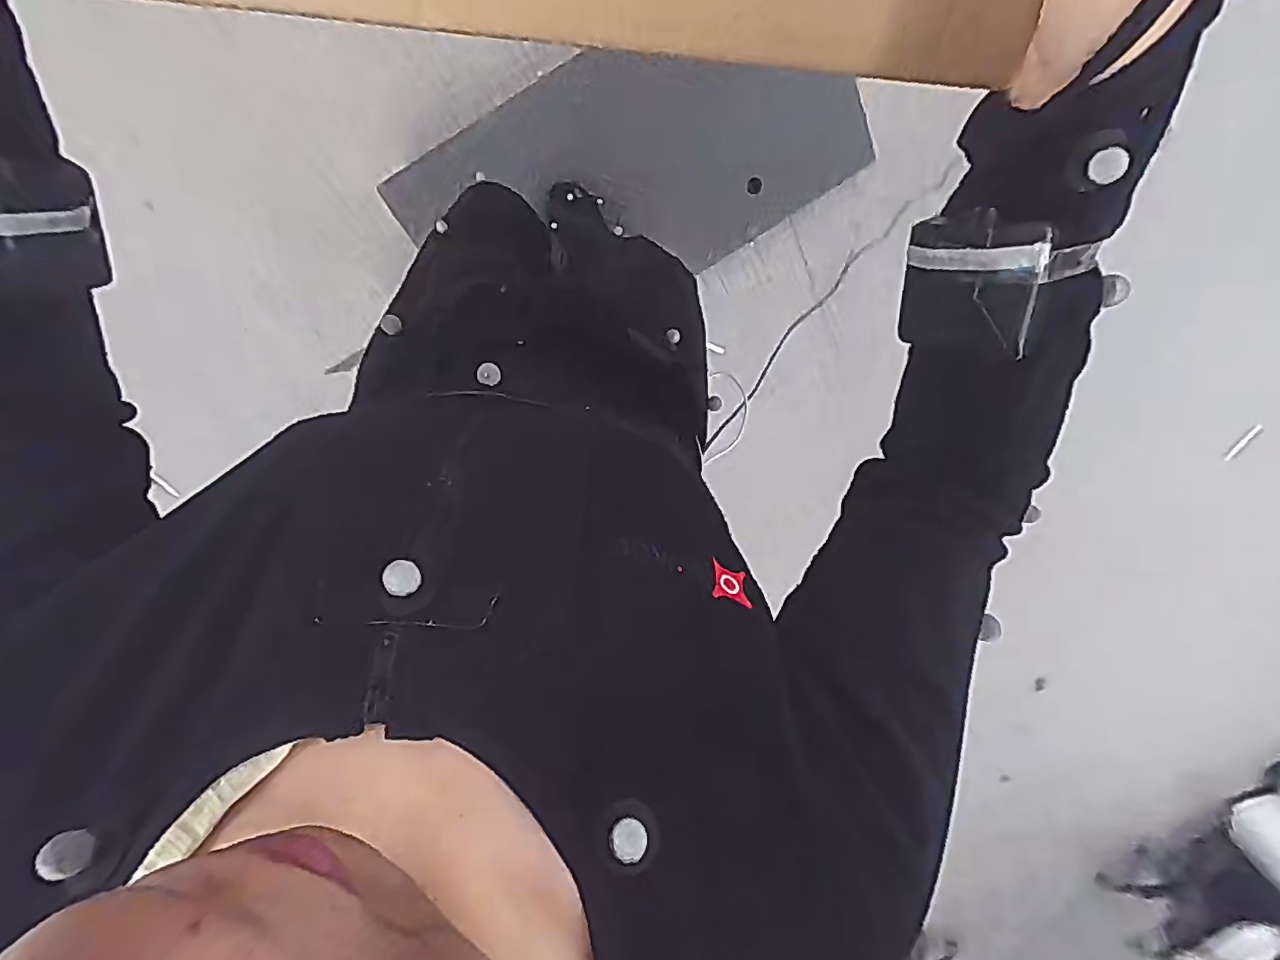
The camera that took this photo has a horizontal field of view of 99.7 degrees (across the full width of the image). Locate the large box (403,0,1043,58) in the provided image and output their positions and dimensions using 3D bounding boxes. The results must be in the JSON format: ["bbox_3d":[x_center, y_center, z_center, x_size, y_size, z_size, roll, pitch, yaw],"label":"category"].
[{"bbox_3d":[-0.026,-0.402,0.202,0.408,0.320,0.320,4,140,-4],"label":"large box"}]
